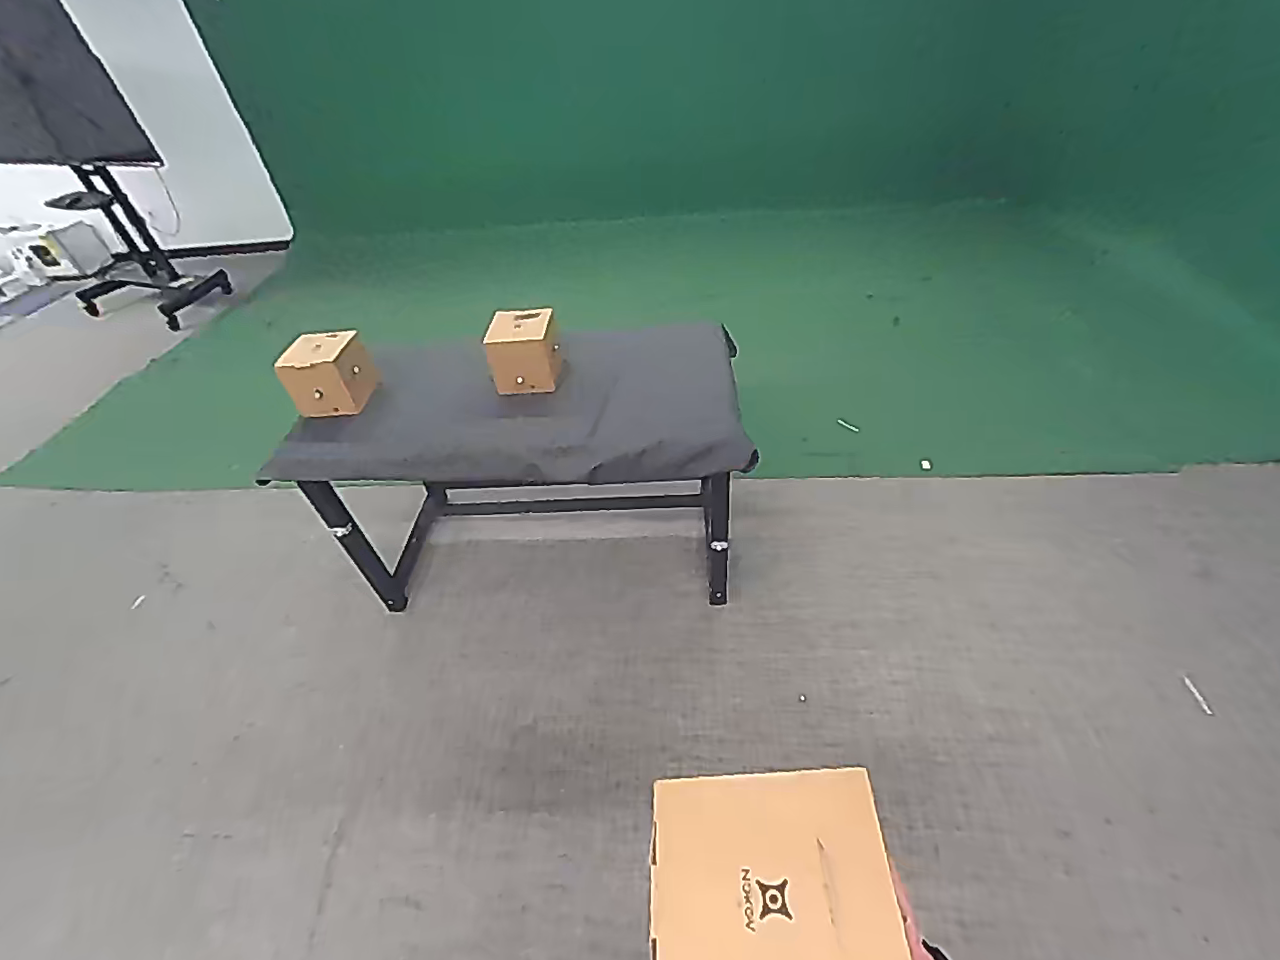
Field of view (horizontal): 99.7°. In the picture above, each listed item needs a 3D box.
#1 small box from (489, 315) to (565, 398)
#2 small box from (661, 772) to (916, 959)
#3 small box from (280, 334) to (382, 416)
[{"bbox_3d":[-0.312,-0.350,1.536,0.168,0.176,0.179,-2,44,4],"label":"small box"},{"bbox_3d":[0.123,0.361,0.452,0.179,0.176,0.168,-11,47,12],"label":"small box"},{"bbox_3d":[-0.861,-0.292,1.531,0.168,0.176,0.179,-3,43,2],"label":"small box"}]
